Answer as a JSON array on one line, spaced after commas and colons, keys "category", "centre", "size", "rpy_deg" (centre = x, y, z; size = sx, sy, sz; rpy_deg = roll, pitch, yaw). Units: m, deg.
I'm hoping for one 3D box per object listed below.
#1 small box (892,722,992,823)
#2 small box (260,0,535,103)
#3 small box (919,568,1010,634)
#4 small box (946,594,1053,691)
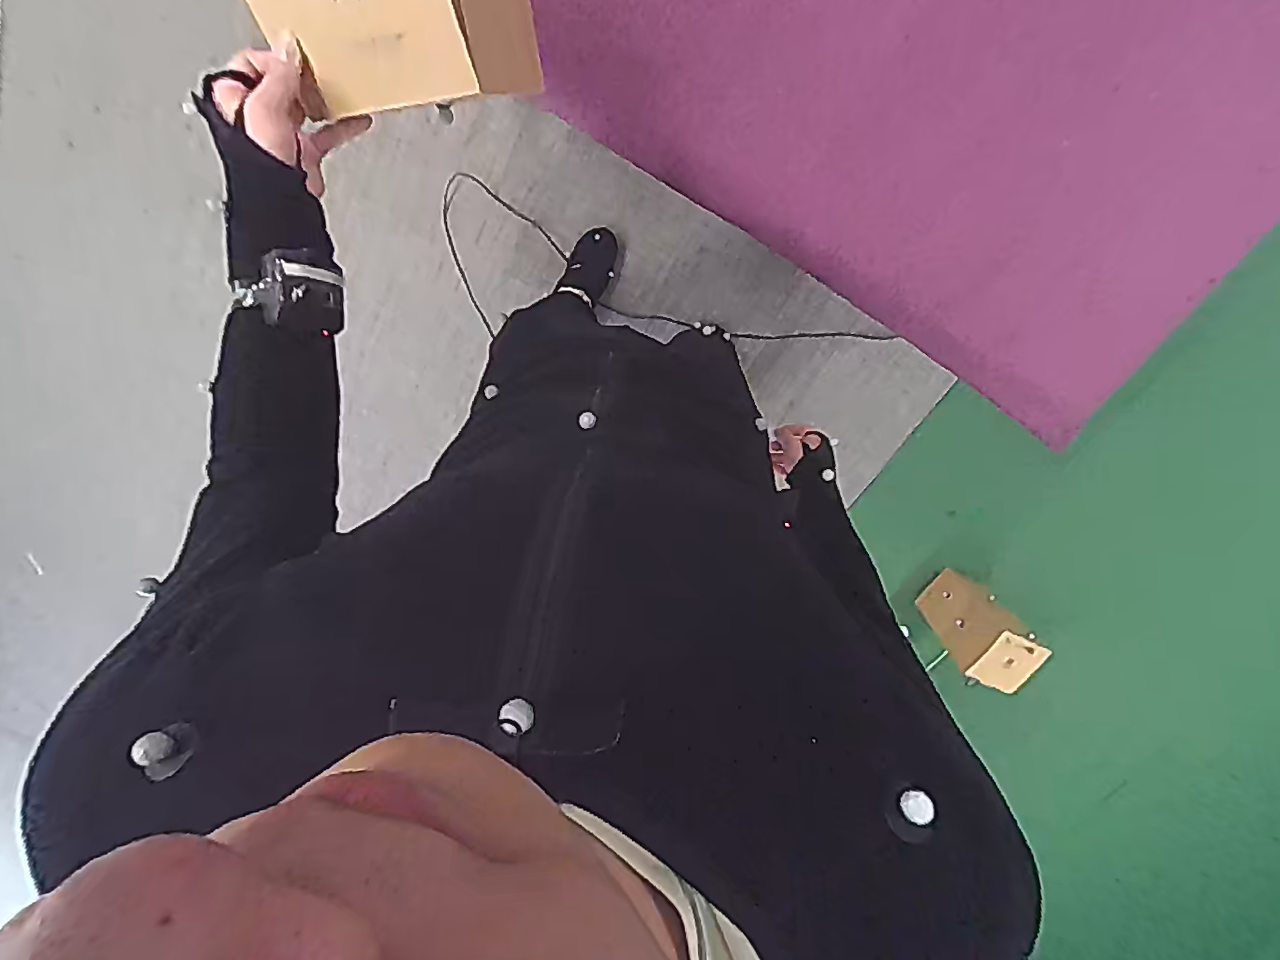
[{"category": "small box", "centre": [0.868, 0.851, 1.581], "size": [0.168, 0.176, 0.179], "rpy_deg": [22, 113, -7]}, {"category": "small box", "centre": [-0.206, -0.438, 0.464], "size": [0.168, 0.176, 0.179], "rpy_deg": [2, 127, 11]}, {"category": "small box", "centre": [1.040, 0.408, 1.734], "size": [0.179, 0.176, 0.168], "rpy_deg": [27, 112, -10]}, {"category": "small box", "centre": [1.036, 0.472, 1.583], "size": [0.168, 0.176, 0.179], "rpy_deg": [25, 114, -9]}]
